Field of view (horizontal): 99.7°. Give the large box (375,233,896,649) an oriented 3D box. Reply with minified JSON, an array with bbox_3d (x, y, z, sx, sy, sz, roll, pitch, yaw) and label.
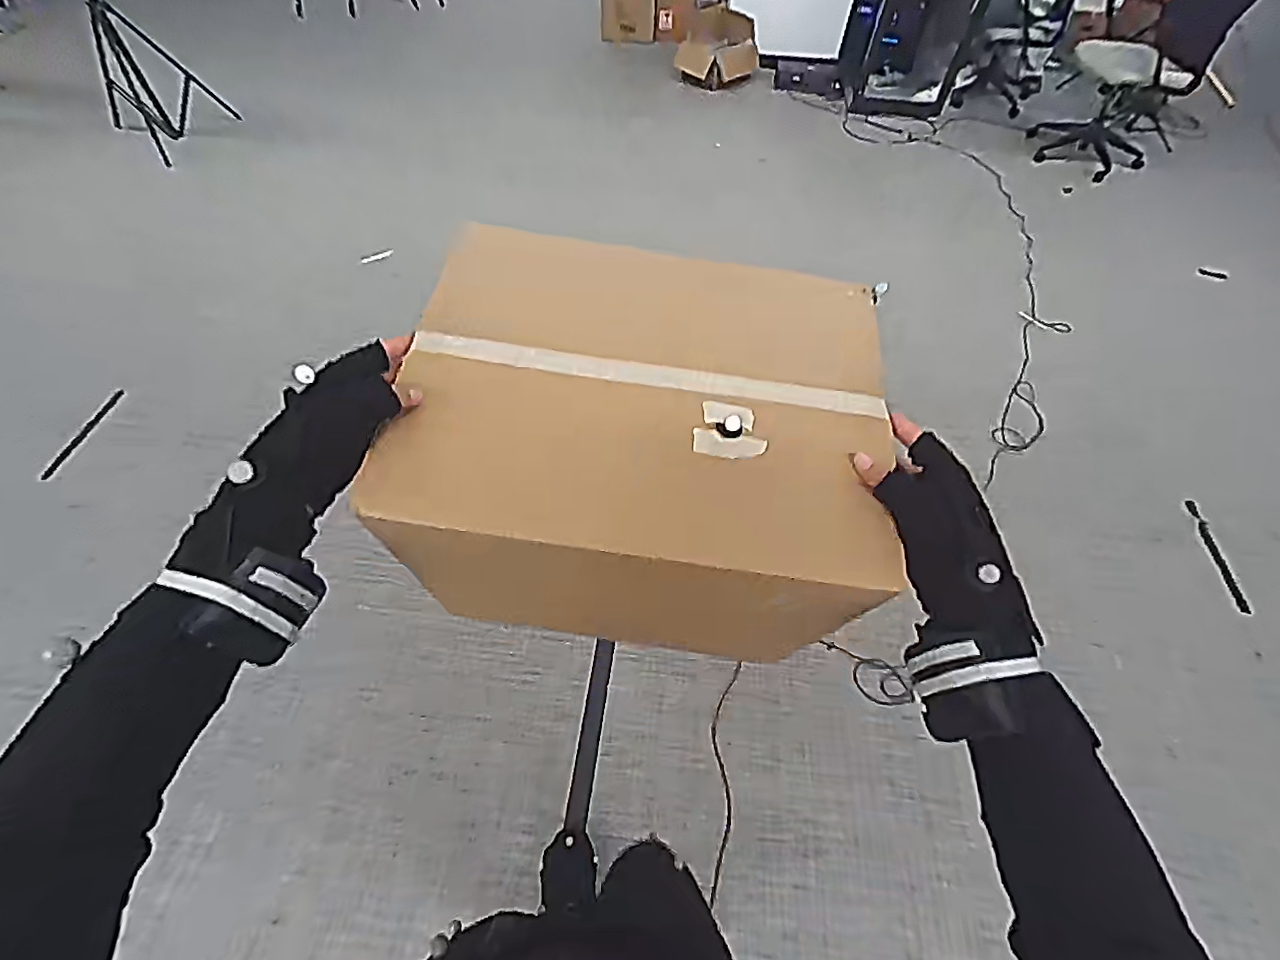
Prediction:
[{"bbox_3d":[0.000,-0.017,0.602,0.408,0.320,0.320,9,63,-1],"label":"large box"}]
